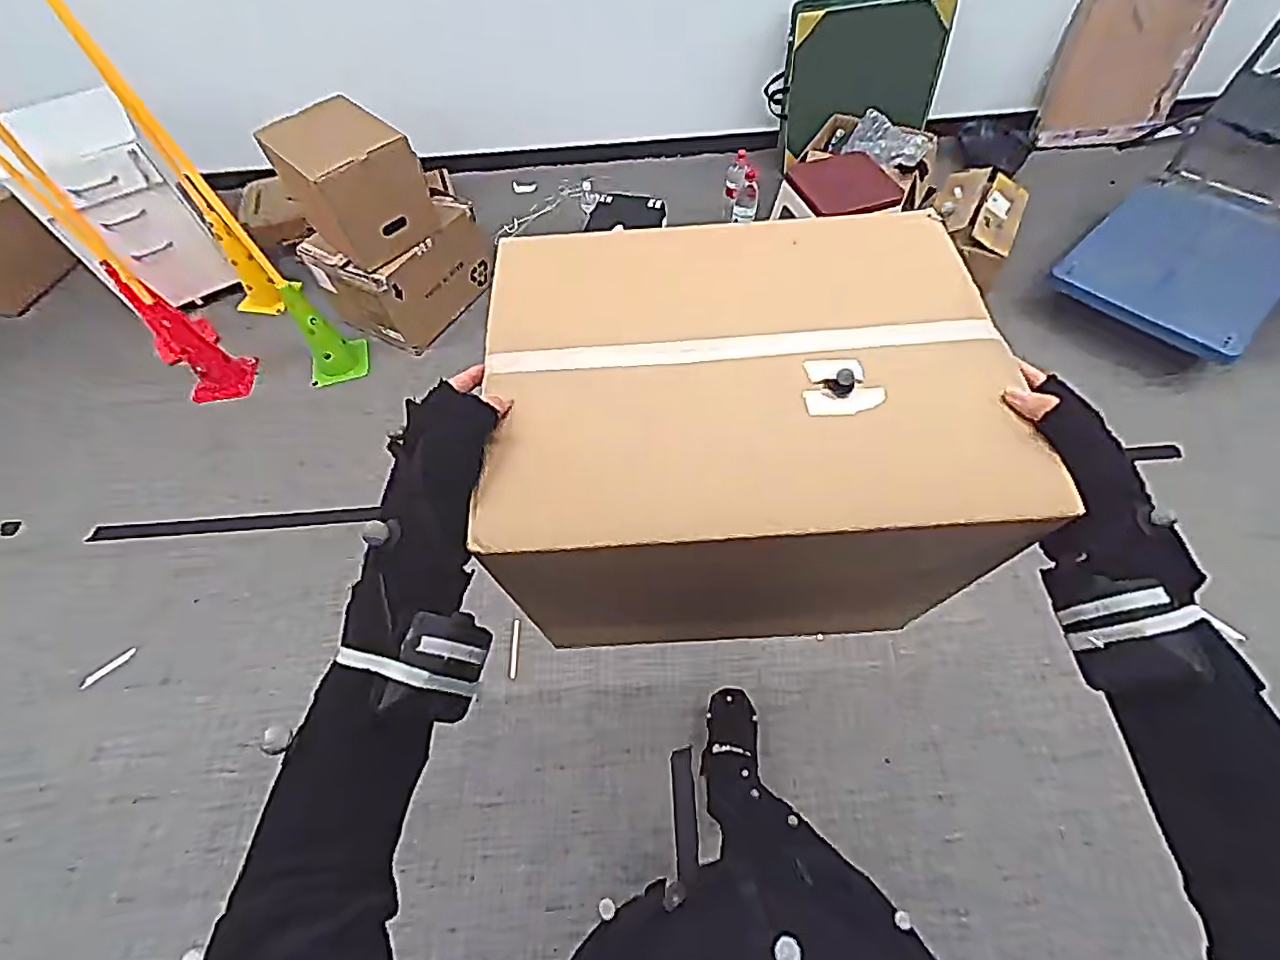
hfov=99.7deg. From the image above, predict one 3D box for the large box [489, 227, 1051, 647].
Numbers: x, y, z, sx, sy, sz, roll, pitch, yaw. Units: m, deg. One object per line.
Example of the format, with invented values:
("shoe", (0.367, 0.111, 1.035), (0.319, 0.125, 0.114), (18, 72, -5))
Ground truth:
("large box", (0.083, -0.024, 0.575), (0.408, 0.320, 0.320), (-4, 62, 0))
